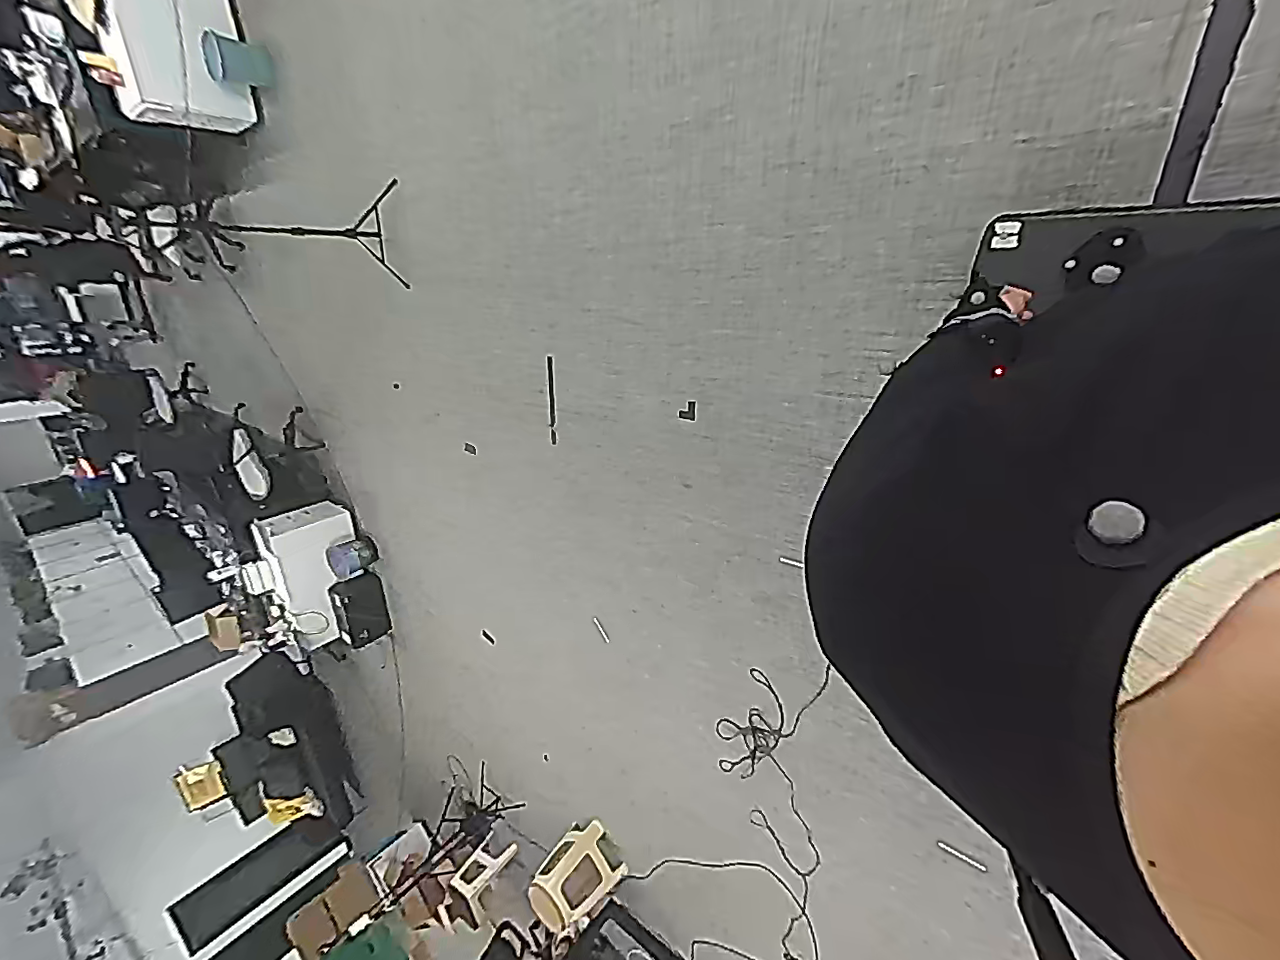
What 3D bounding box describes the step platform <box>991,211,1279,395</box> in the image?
[{"bbox_3d":[1.057,-0.330,0.993,0.684,0.204,0.286,20,119,34],"label":"step platform"}]
